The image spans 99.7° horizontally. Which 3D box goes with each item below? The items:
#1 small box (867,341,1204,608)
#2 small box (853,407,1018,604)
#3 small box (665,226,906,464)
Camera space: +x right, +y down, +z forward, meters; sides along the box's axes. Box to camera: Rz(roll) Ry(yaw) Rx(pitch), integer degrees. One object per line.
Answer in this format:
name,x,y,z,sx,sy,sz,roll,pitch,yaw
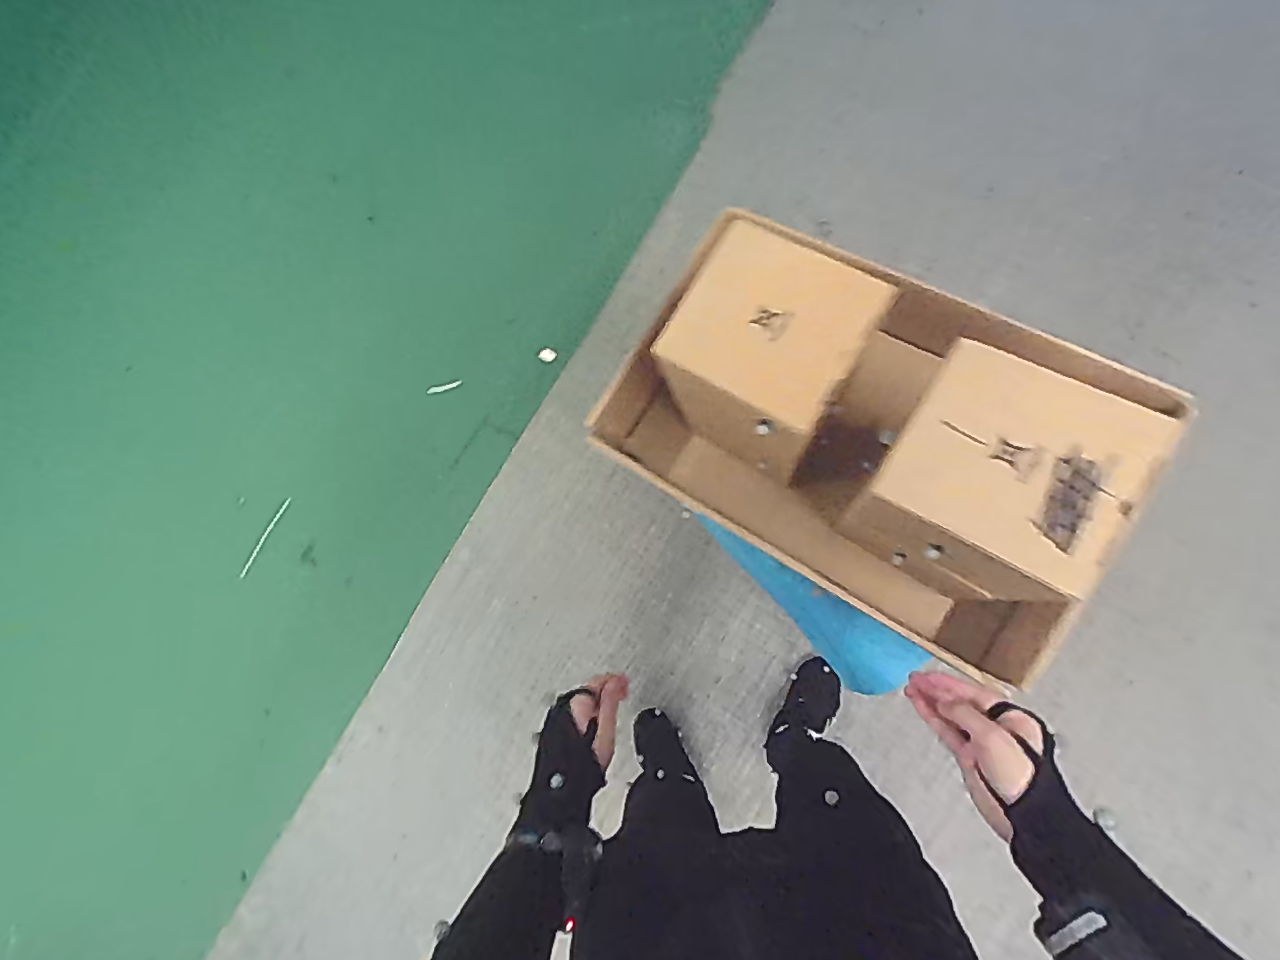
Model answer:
small box,0.343,0.004,0.514,0.179,0.176,0.168,31,87,21
small box,0.386,0.040,0.668,0.179,0.176,0.168,33,88,20
small box,0.154,-0.135,0.601,0.179,0.176,0.168,32,88,16
